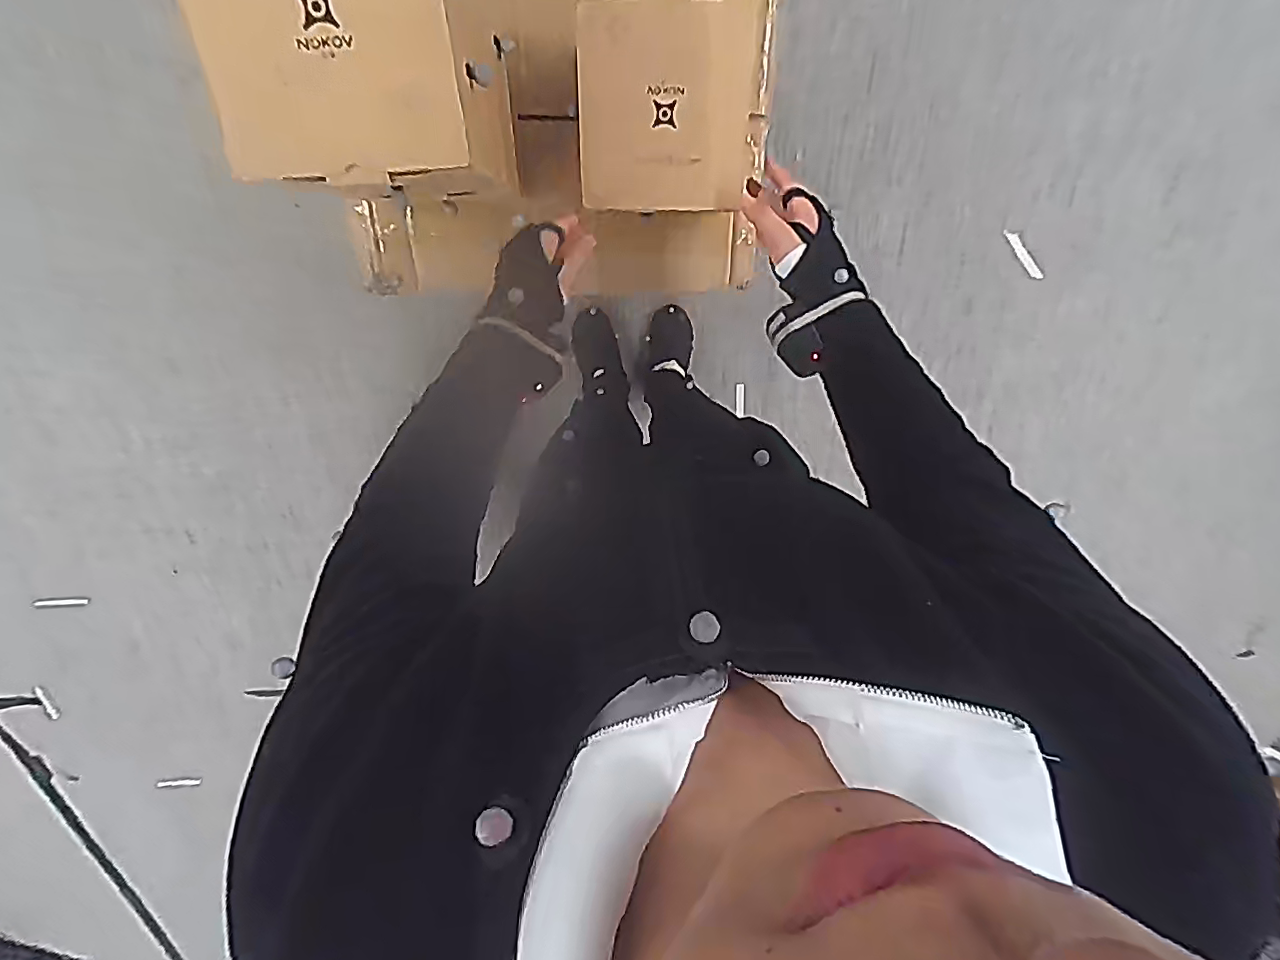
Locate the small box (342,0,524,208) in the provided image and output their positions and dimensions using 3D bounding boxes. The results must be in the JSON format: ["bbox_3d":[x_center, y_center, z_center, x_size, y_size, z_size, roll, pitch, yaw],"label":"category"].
[{"bbox_3d":[-0.222,-0.394,0.576,0.168,0.176,0.179,-4,115,-3],"label":"small box"}]

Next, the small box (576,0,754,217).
[{"bbox_3d":[0.021,-0.390,0.595,0.168,0.176,0.179,-1,116,0],"label":"small box"}]

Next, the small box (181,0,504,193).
[{"bbox_3d":[-0.212,-0.328,0.425,0.168,0.176,0.179,-5,115,-2],"label":"small box"}]
